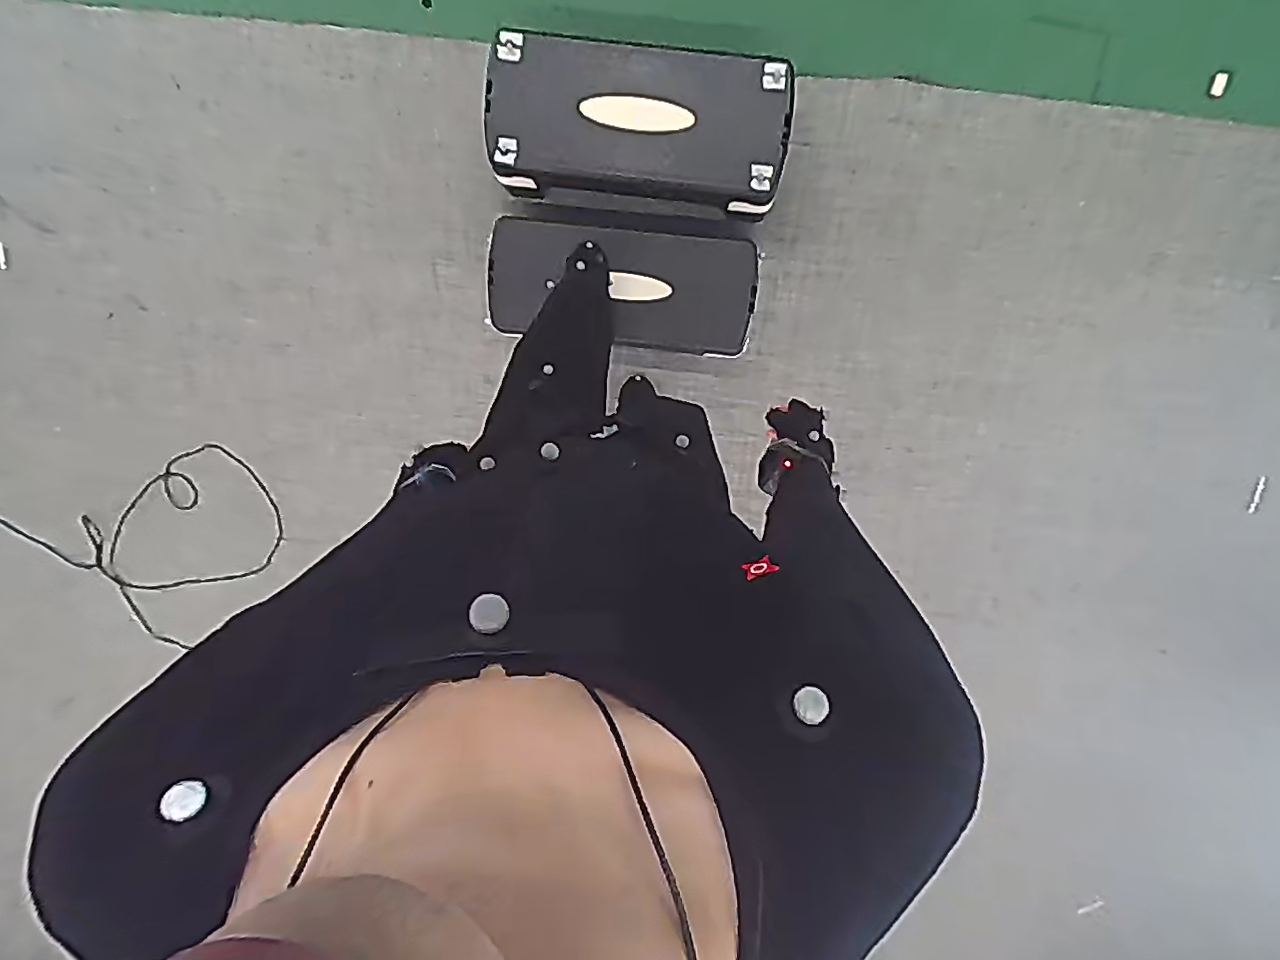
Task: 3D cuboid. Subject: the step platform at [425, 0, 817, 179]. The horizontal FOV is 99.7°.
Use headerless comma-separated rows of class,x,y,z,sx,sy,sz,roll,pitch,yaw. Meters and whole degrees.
step platform,-0.035,-0.777,1.033,0.684,0.204,0.286,6,103,1
